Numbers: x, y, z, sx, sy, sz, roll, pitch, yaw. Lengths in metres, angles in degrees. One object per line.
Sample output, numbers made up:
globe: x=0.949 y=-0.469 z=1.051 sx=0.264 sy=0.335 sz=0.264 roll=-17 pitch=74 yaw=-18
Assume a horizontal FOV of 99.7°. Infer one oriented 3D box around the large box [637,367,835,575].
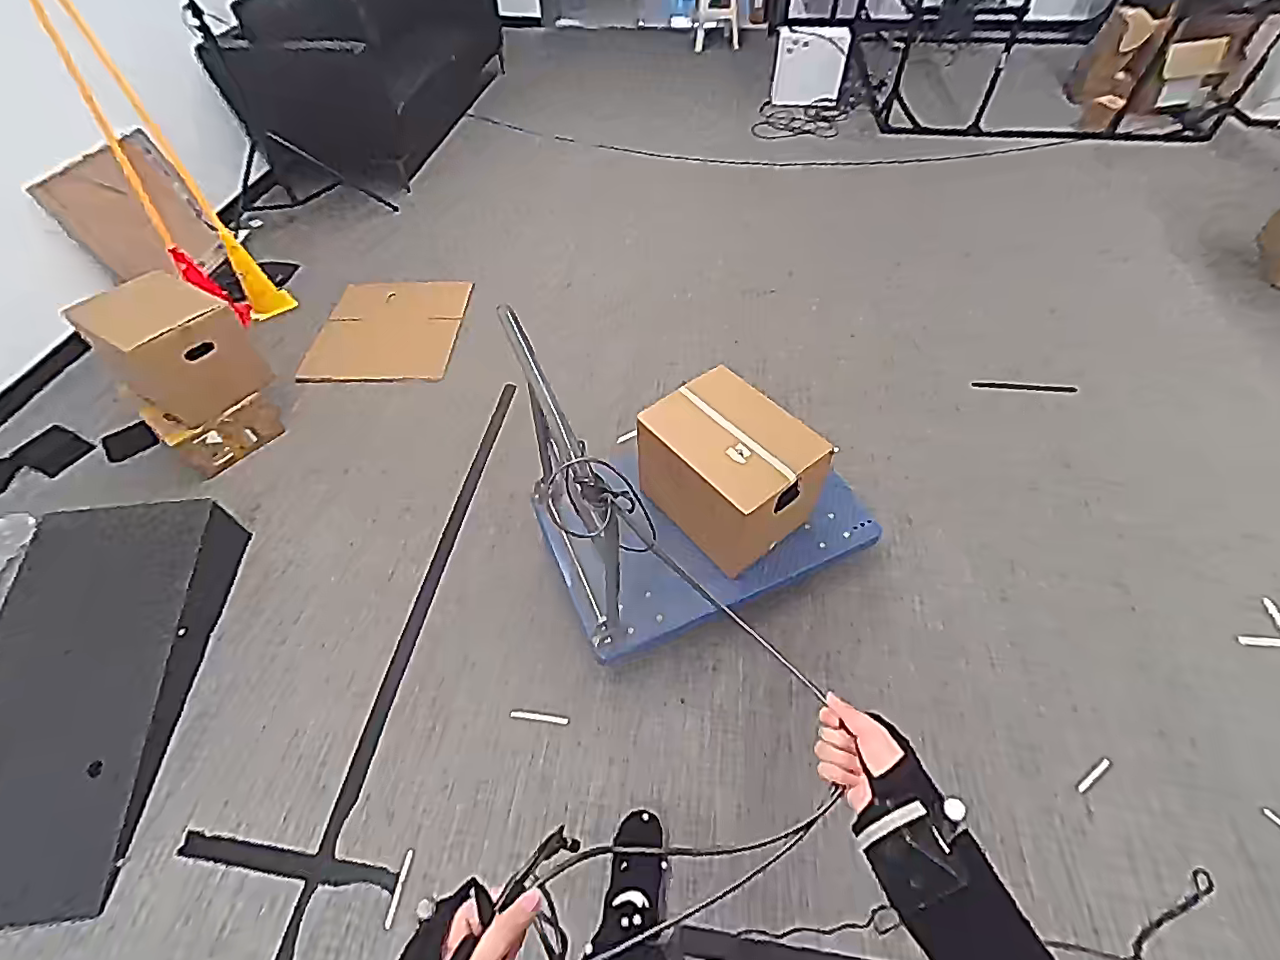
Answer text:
large box: x=0.231 y=-0.028 z=1.460 sx=0.320 sy=0.320 sz=0.408 roll=-34 pitch=60 yaw=-21
